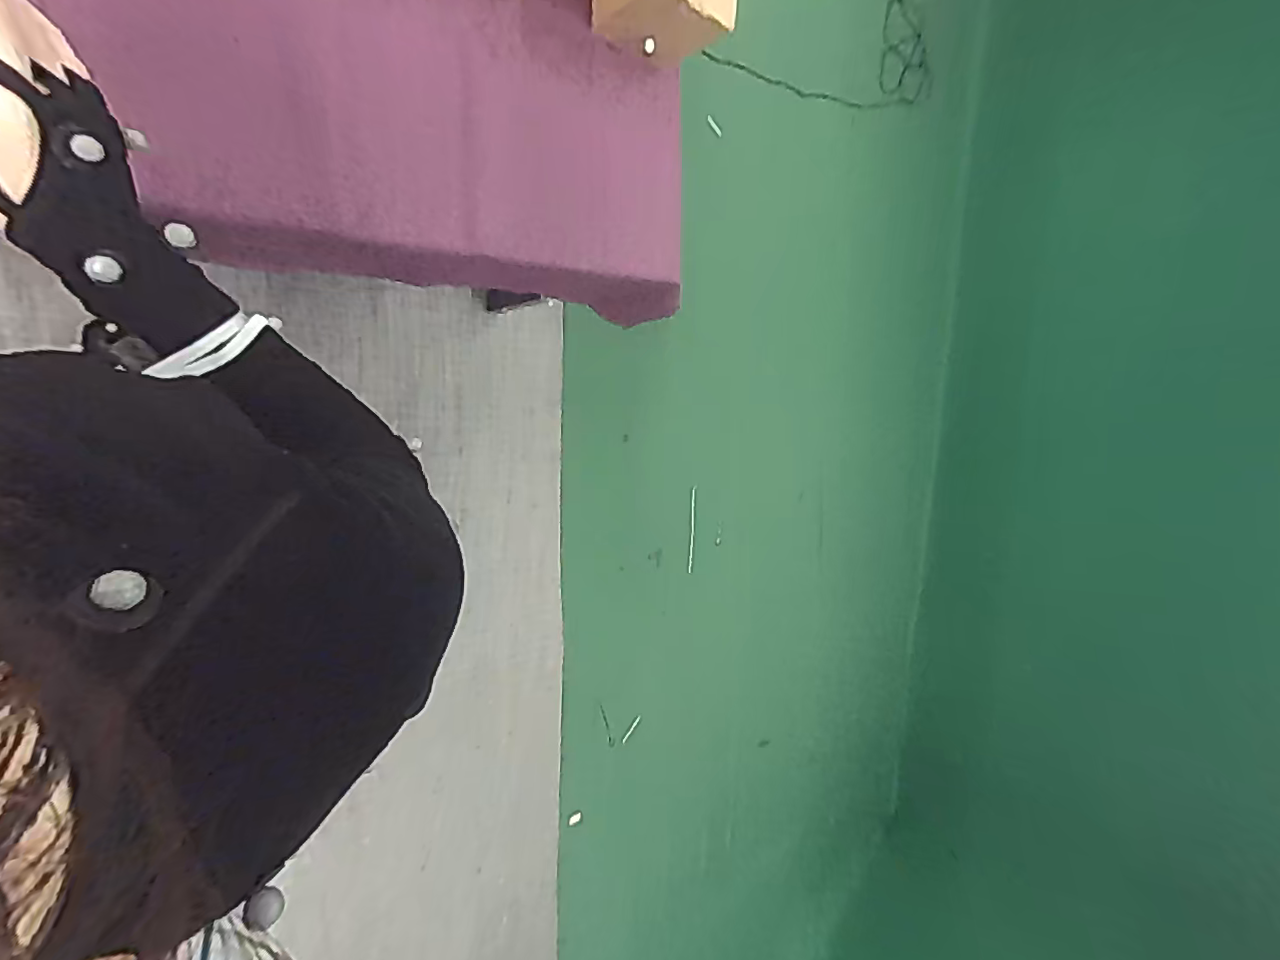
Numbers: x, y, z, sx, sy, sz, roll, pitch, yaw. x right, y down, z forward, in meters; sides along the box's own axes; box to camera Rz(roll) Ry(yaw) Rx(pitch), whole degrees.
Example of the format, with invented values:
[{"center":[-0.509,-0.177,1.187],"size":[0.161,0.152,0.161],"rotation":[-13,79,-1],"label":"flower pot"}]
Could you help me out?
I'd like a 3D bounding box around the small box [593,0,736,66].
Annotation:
[{"center":[0.038,-0.807,0.851],"size":[0.168,0.176,0.179],"rotation":[-6,105,-39],"label":"small box"}]
